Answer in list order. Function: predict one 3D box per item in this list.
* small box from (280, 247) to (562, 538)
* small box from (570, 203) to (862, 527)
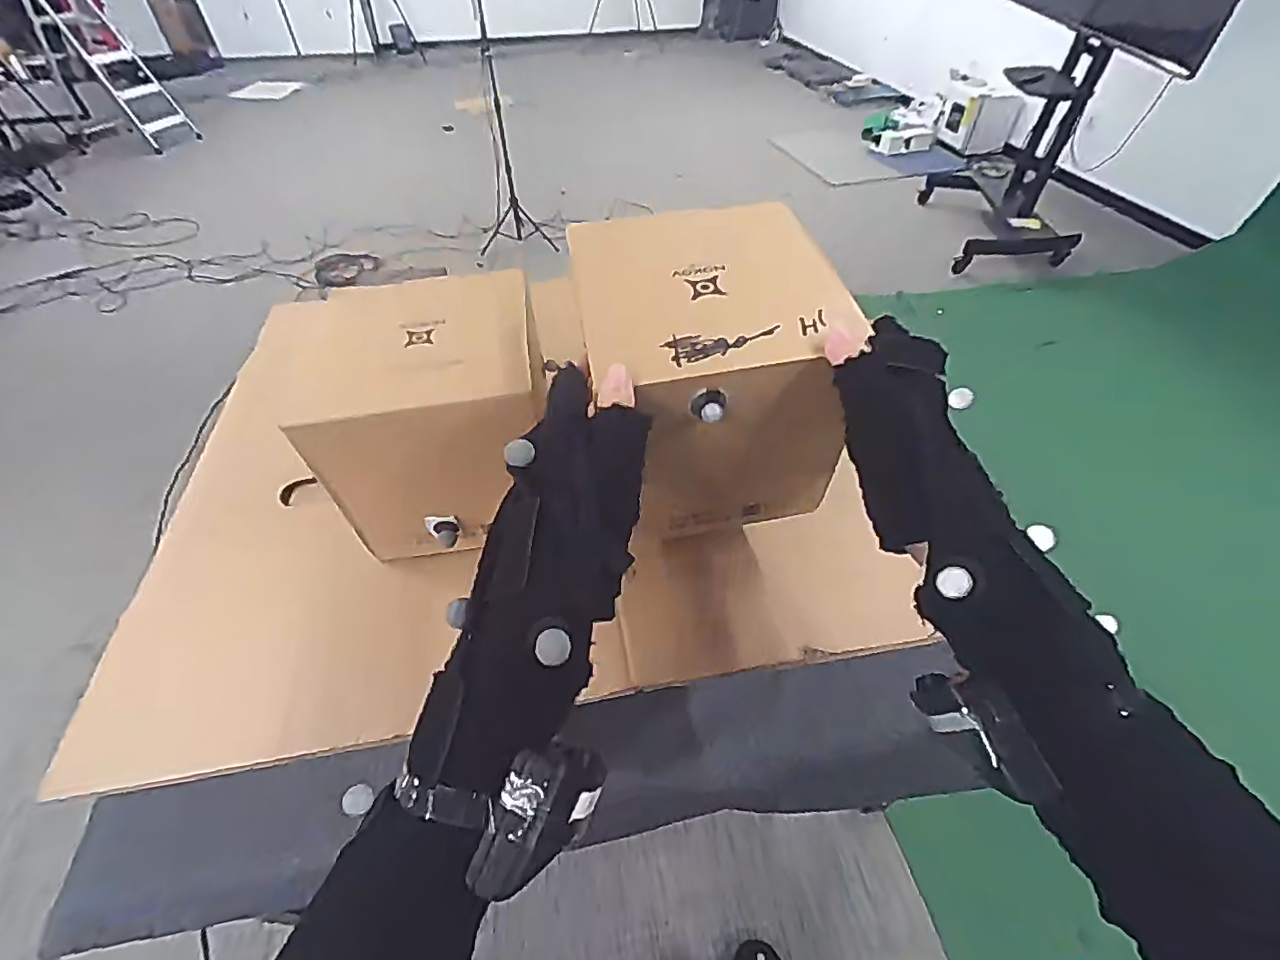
[{"bbox_3d":[-0.165,-0.075,0.469,0.168,0.176,0.179,-9,51,-5],"label":"small box"},{"bbox_3d":[0.041,-0.087,0.425,0.168,0.176,0.179,-9,52,-4],"label":"small box"}]
